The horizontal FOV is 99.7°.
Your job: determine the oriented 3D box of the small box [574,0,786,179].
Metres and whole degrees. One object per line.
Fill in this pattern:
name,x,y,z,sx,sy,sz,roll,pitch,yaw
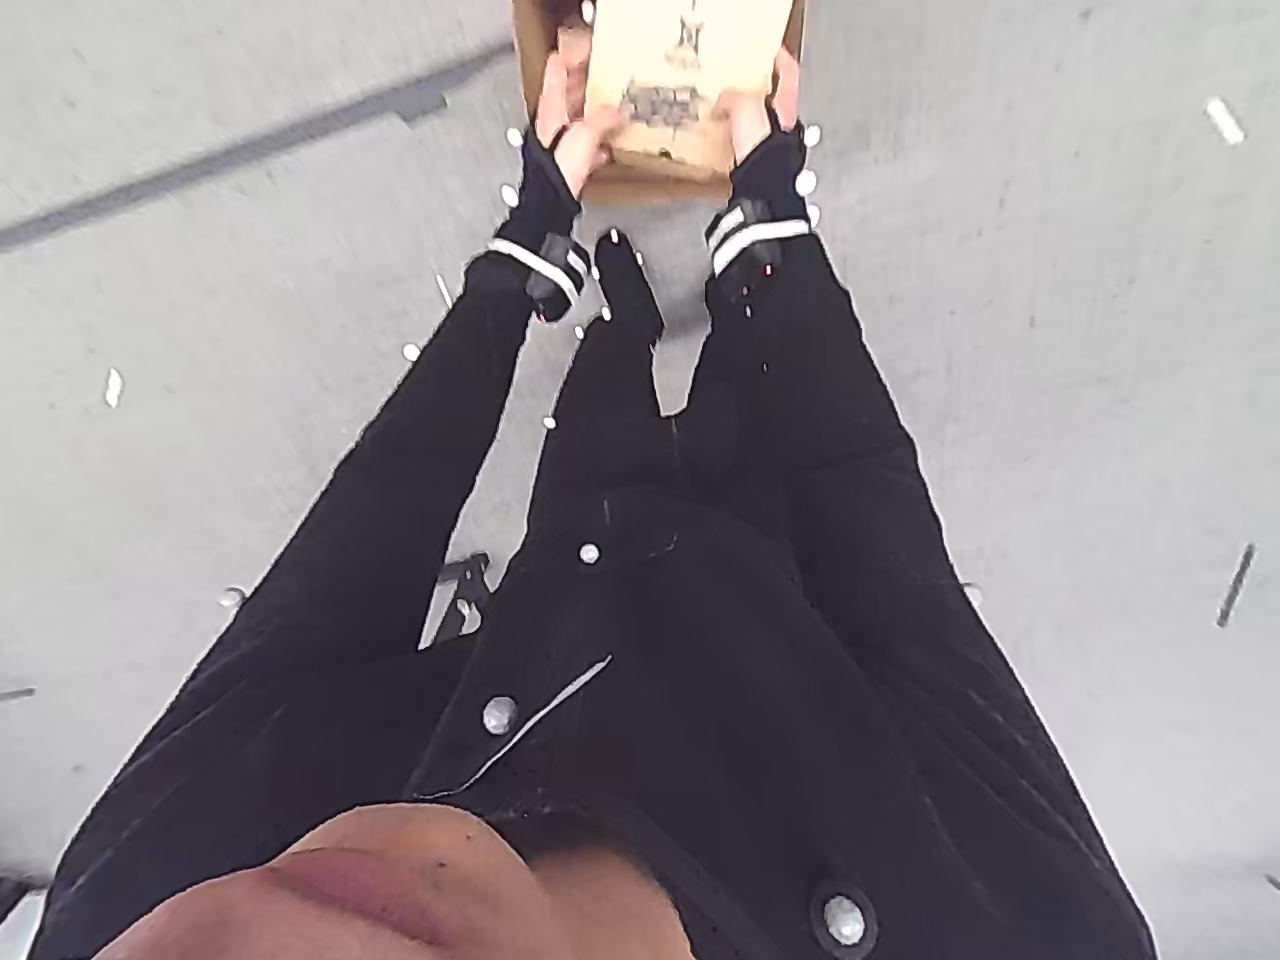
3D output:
small box,0.032,-0.429,0.541,0.168,0.176,0.179,8,127,-8
